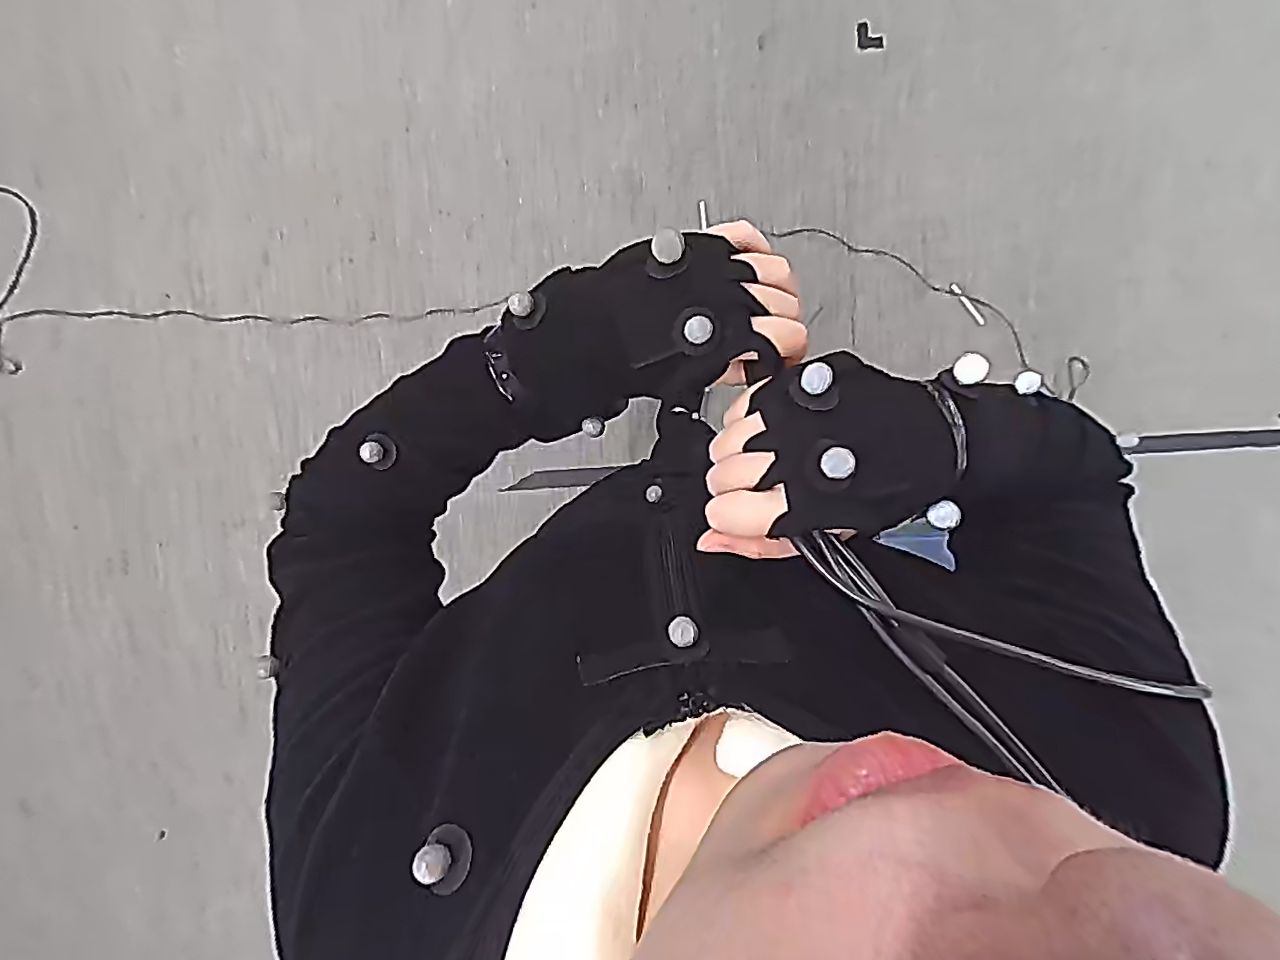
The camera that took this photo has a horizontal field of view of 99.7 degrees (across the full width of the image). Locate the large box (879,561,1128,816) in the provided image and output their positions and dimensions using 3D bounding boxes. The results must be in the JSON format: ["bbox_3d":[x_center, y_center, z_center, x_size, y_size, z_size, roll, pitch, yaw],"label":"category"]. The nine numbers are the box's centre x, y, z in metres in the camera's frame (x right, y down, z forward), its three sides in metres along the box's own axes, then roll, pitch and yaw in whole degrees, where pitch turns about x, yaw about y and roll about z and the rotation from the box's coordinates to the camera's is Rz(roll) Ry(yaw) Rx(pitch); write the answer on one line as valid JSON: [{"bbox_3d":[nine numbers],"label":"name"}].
[{"bbox_3d":[0.788,0.437,1.218,0.320,0.320,0.408,-12,95,0],"label":"large box"}]
